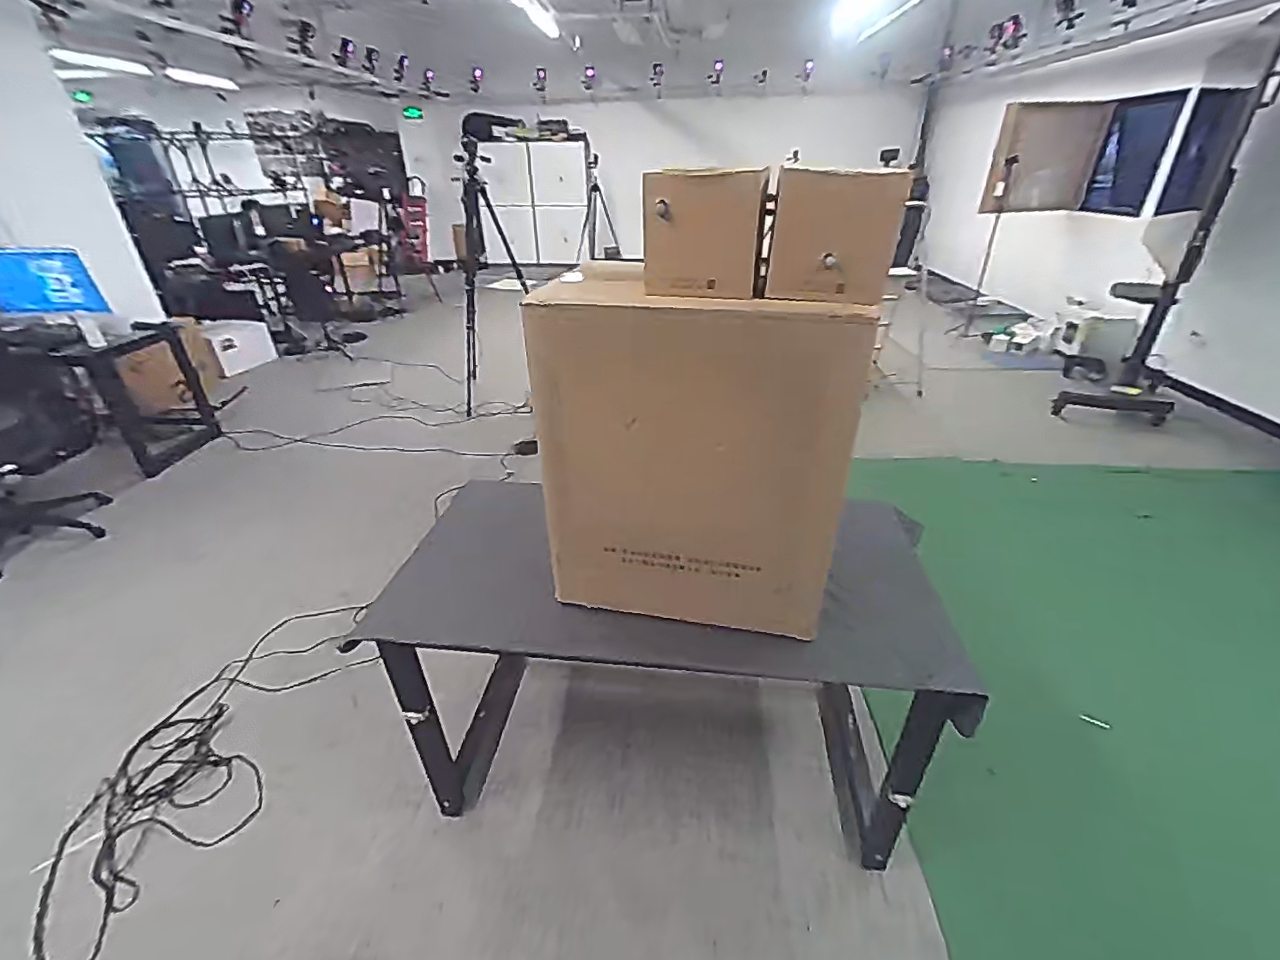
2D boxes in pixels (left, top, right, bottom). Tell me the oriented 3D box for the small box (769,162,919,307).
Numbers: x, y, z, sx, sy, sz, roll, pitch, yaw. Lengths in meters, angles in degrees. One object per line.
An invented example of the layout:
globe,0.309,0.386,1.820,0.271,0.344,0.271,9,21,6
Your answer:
small box,0.285,-0.367,0.800,0.168,0.176,0.179,7,33,9
